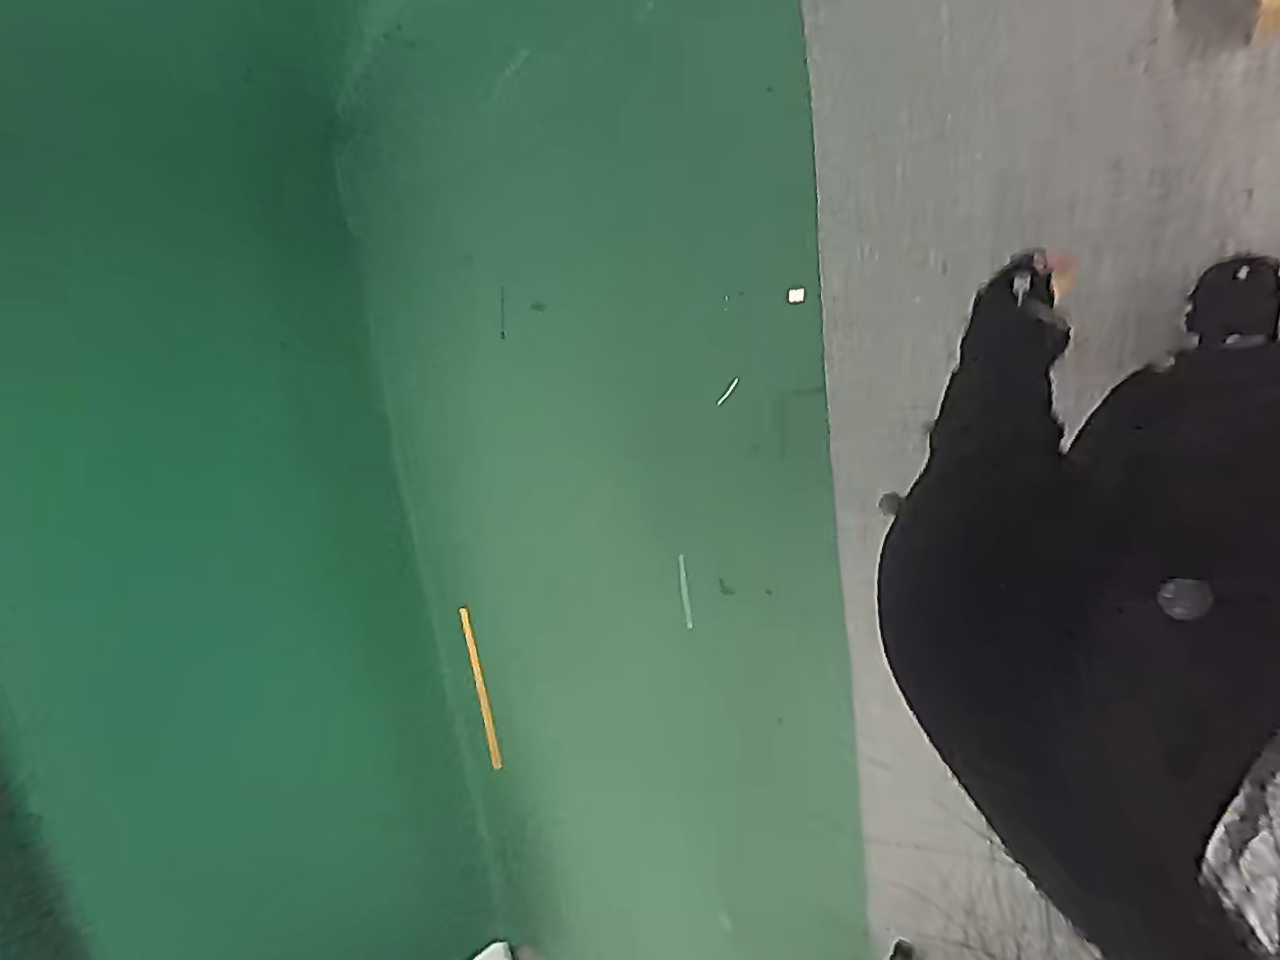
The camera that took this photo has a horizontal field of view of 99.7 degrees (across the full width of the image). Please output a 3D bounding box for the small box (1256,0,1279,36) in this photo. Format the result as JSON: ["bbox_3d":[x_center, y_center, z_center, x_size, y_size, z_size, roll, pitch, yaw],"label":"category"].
[{"bbox_3d":[1.031,-0.803,0.782,0.179,0.176,0.168,-4,100,46],"label":"small box"}]
